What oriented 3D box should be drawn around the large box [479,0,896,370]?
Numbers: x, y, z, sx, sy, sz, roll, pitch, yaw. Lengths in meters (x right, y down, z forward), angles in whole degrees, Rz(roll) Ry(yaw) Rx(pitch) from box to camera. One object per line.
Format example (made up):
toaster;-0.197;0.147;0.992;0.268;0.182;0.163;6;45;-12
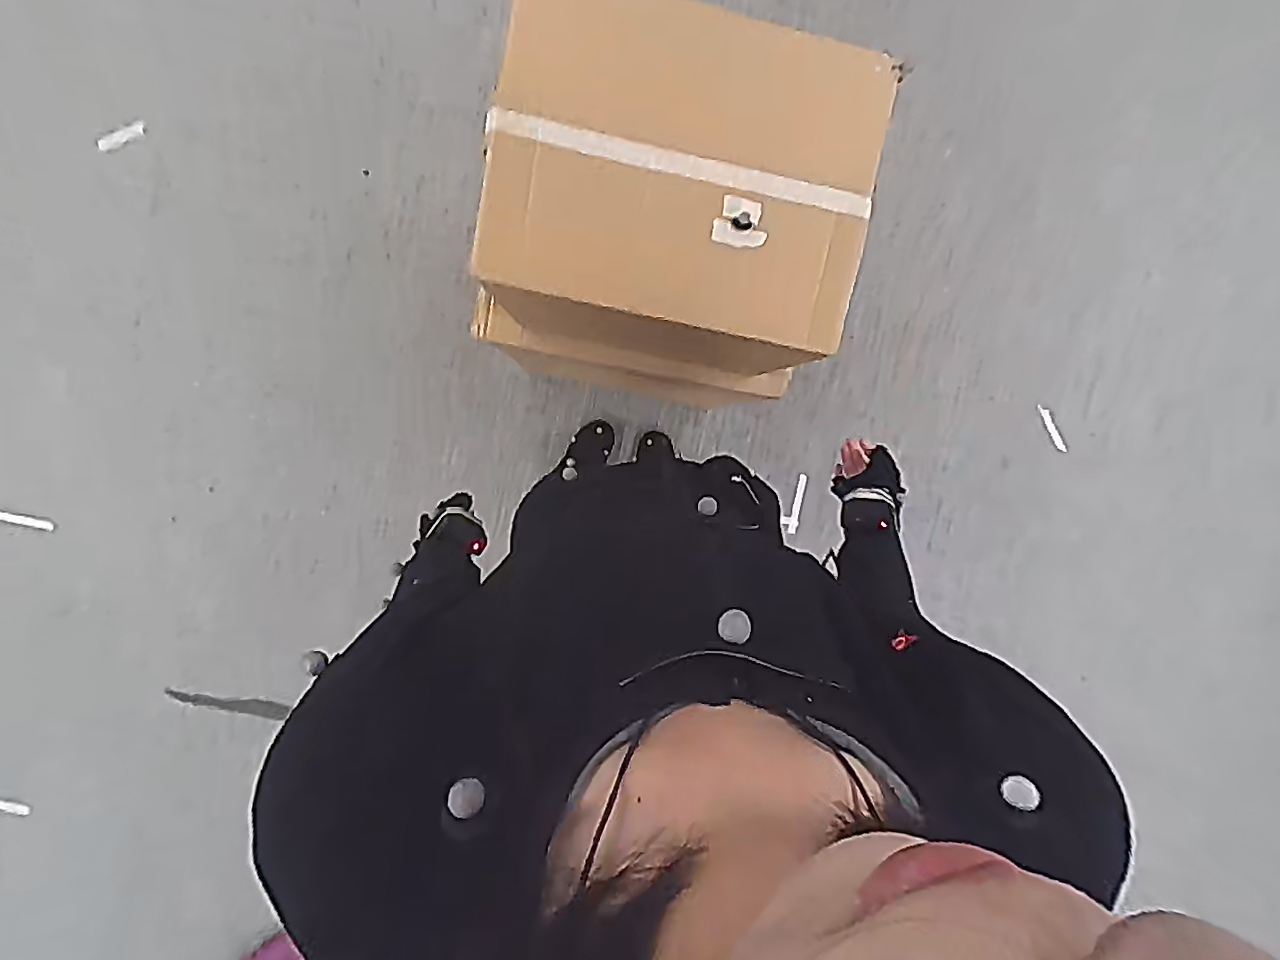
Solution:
large box;0.038;-0.344;0.709;0.408;0.320;0.320;10;96;-6
